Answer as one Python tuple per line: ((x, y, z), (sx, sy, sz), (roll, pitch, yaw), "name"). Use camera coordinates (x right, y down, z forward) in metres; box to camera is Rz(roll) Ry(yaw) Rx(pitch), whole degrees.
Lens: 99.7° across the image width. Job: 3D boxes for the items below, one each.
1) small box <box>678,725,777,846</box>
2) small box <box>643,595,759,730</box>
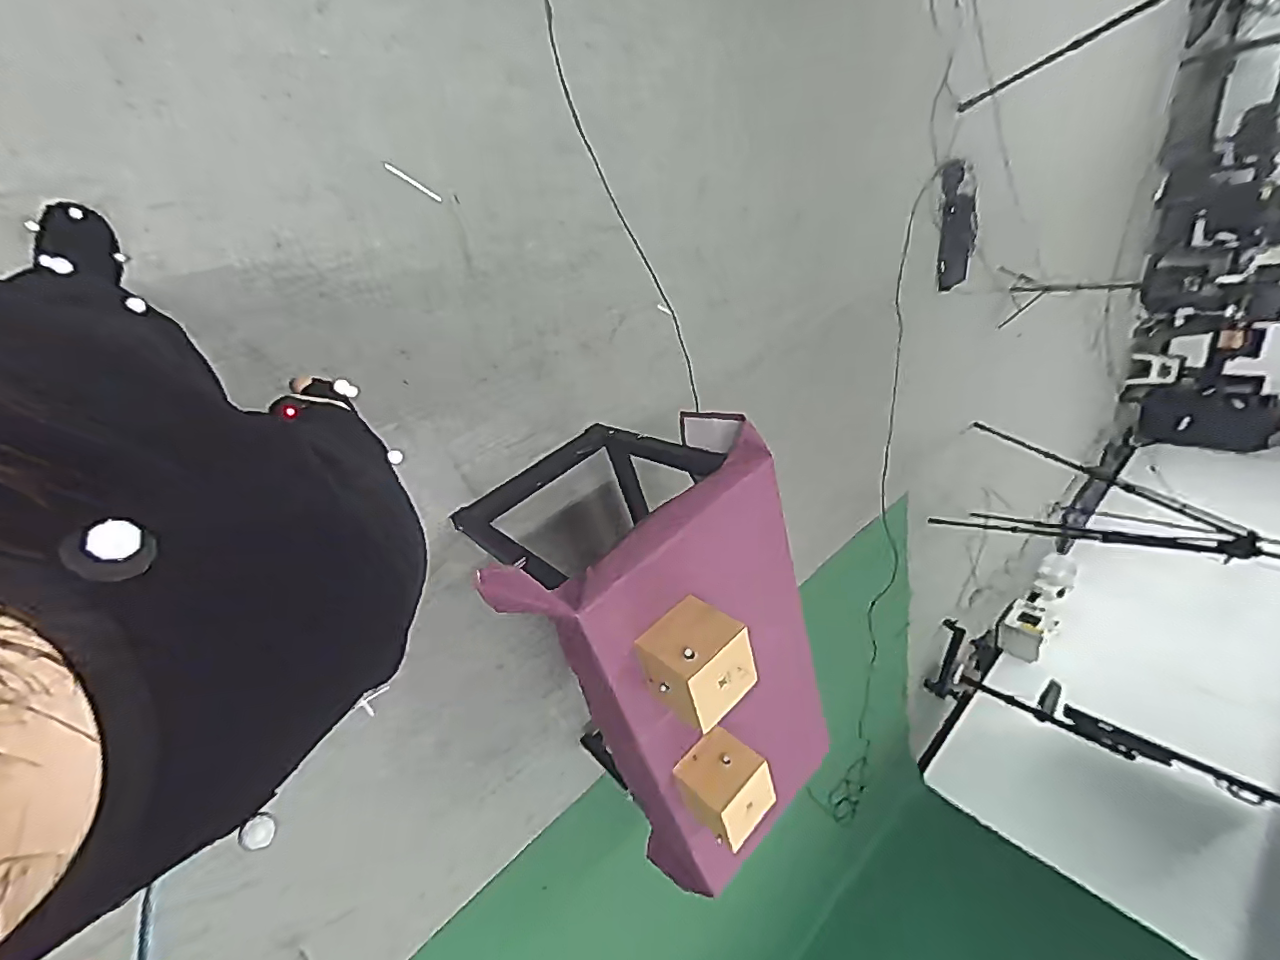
((0.215, 0.750, 1.350), (0.168, 0.176, 0.179), (-34, 124, -27), "small box")
((0.125, 0.380, 1.154), (0.179, 0.176, 0.168), (-33, 123, -28), "small box")
